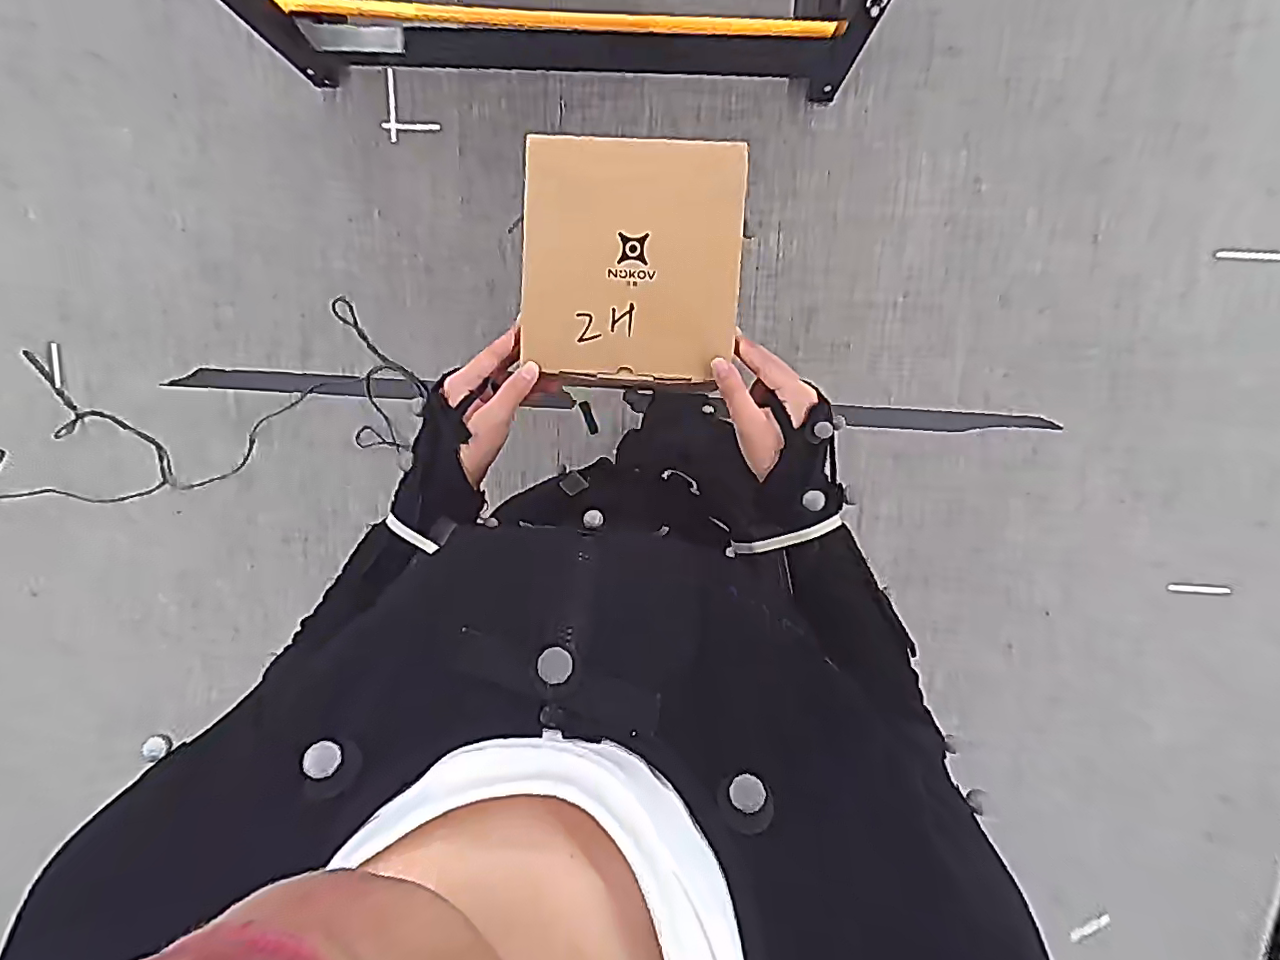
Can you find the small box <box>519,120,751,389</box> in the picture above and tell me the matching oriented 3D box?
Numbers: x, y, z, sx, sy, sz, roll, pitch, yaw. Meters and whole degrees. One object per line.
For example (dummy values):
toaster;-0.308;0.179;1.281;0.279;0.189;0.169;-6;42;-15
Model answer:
small box;-0.003;-0.181;0.484;0.168;0.176;0.179;4;96;2
